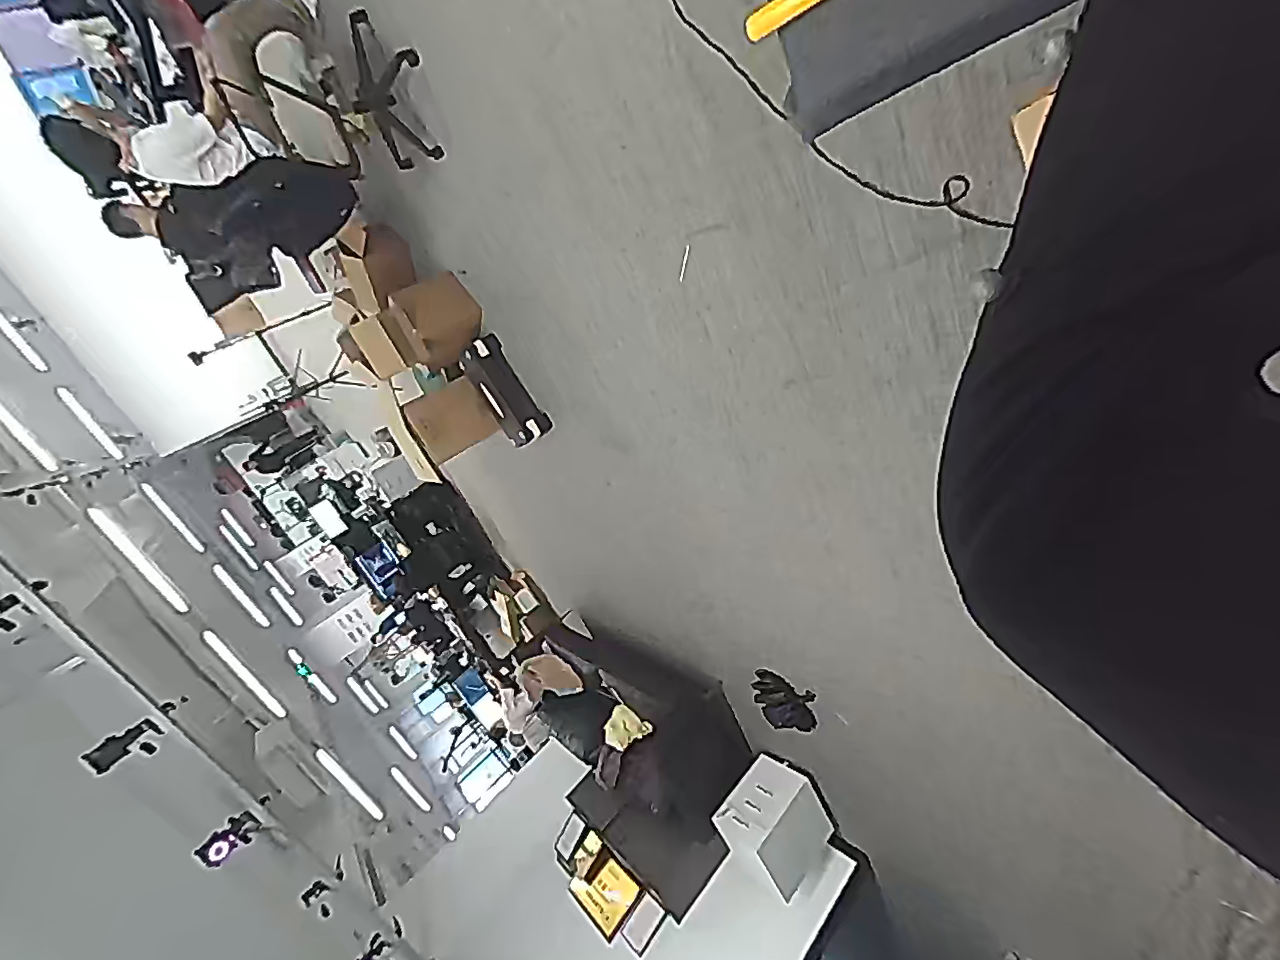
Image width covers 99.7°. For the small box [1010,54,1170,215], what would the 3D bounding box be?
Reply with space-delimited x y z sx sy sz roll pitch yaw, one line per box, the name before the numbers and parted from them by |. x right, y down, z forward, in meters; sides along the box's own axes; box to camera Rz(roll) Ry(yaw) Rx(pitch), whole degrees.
small box | 0.796 -0.610 0.956 0.168 0.176 0.179 -5 118 57
